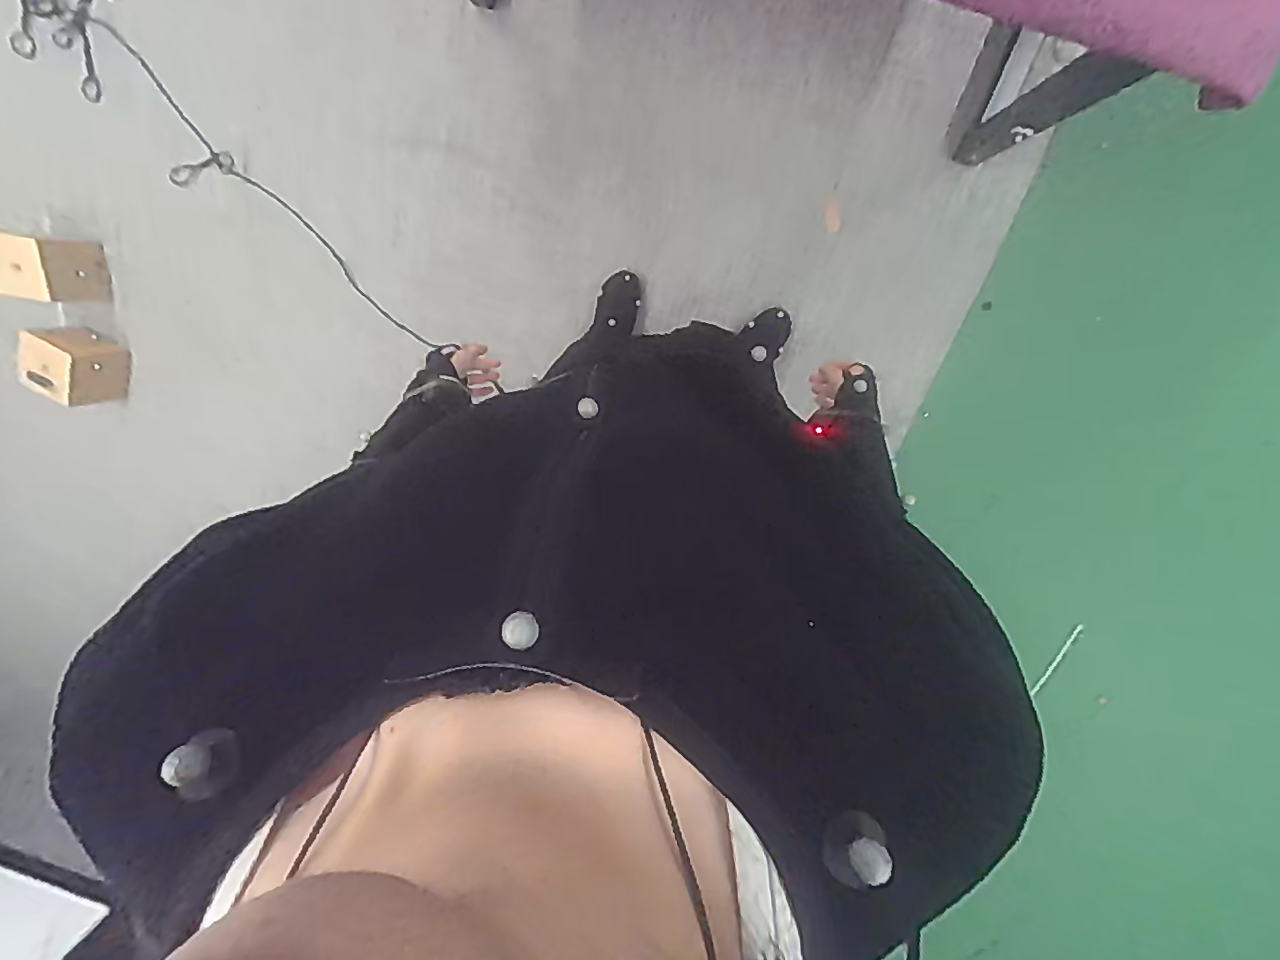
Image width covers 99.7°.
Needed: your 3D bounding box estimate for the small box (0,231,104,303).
[{"bbox_3d":[-1.681,-0.606,1.533,0.179,0.176,0.168,12,111,6],"label":"small box"}]
